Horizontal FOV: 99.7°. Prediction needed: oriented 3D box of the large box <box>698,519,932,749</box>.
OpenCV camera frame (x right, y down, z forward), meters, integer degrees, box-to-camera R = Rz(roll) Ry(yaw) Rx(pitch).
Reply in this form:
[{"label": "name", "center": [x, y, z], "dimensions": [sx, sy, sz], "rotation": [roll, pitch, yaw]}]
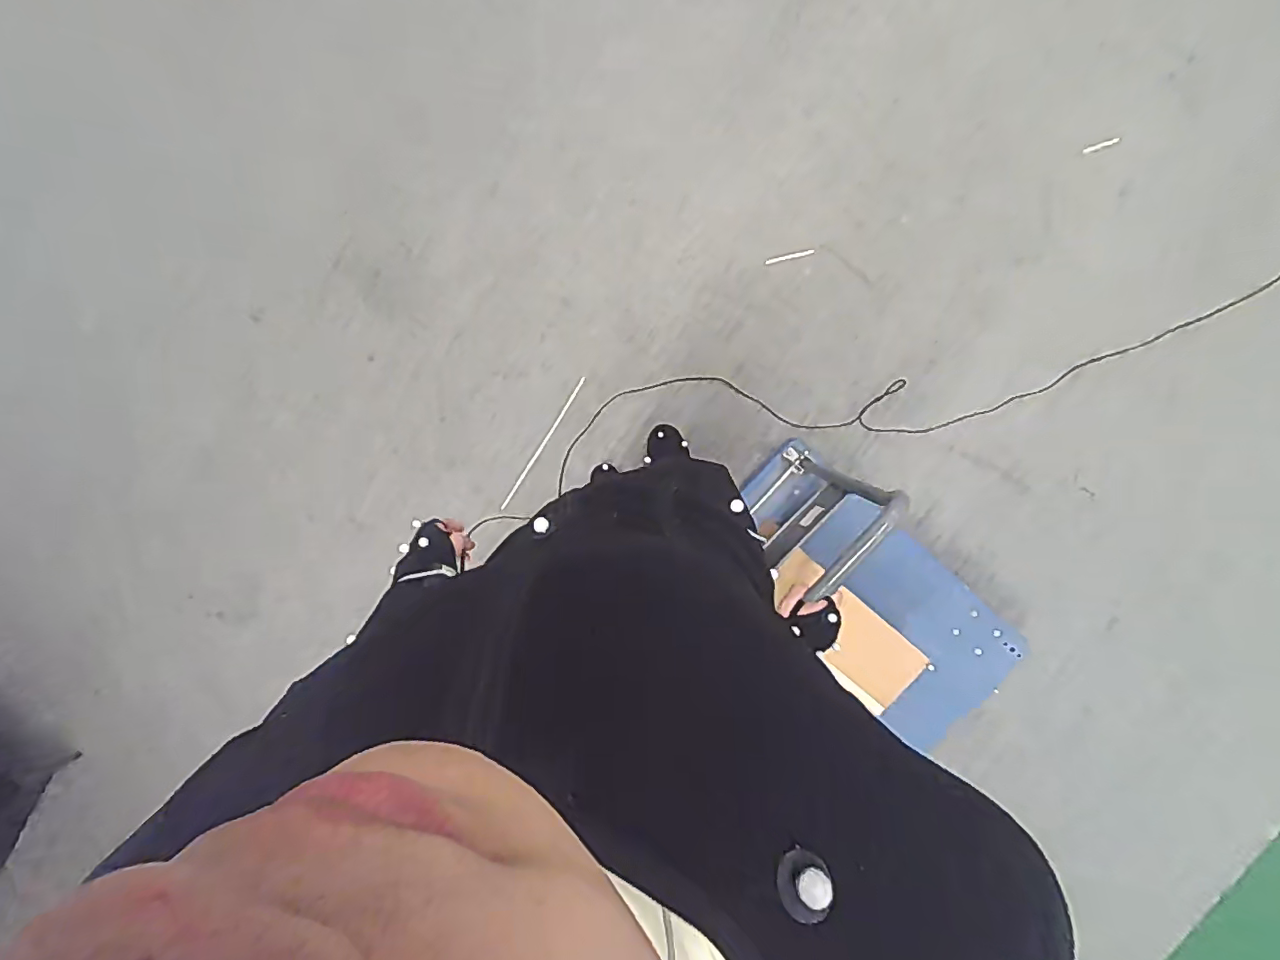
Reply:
[{"label": "large box", "center": [0.397, 0.352, 1.338], "dimensions": [0.408, 0.320, 0.320], "rotation": [40, 97, -2]}]
